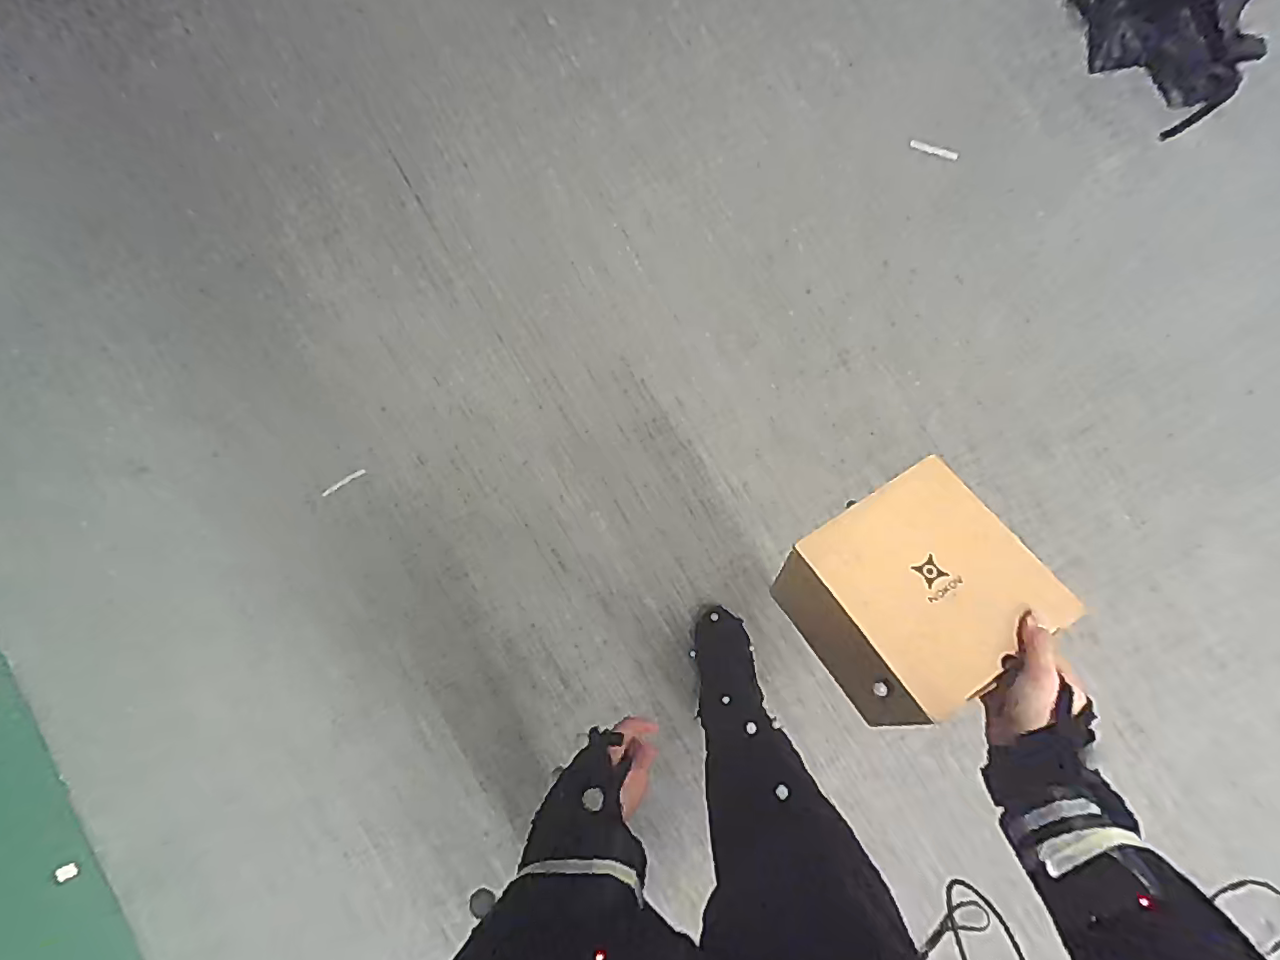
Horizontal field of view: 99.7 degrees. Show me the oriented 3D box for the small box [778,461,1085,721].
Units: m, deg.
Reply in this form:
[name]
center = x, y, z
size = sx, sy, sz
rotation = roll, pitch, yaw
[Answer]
[small box]
center = 0.260, 0.119, 0.537
size = 0.168, 0.176, 0.179
rotation = -31, 67, -10
